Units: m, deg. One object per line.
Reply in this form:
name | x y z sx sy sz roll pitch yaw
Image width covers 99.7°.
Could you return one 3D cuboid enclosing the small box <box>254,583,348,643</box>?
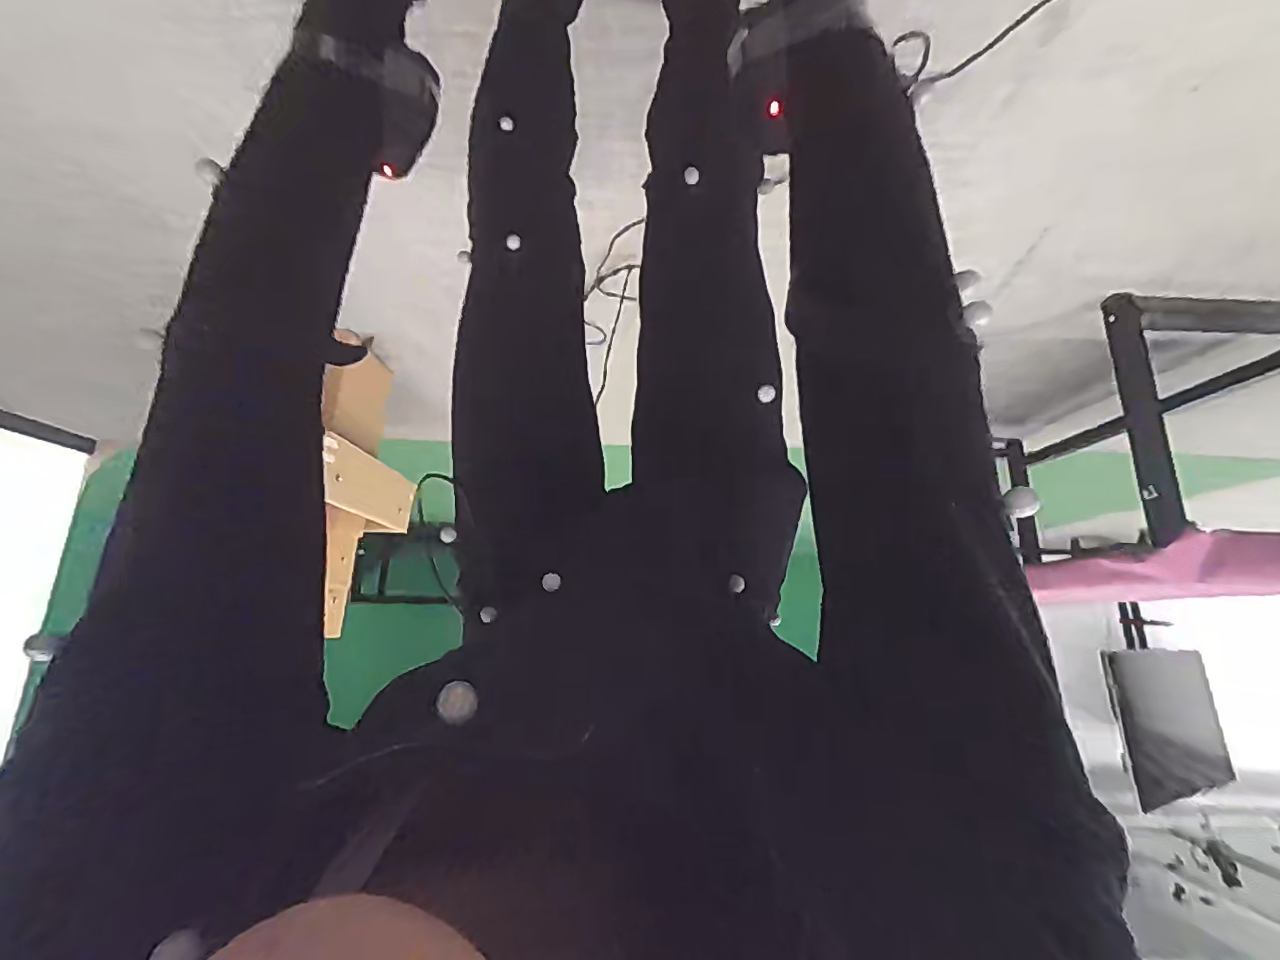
small box | -1.047 0.416 1.684 0.179 0.176 0.168 1 163 1
